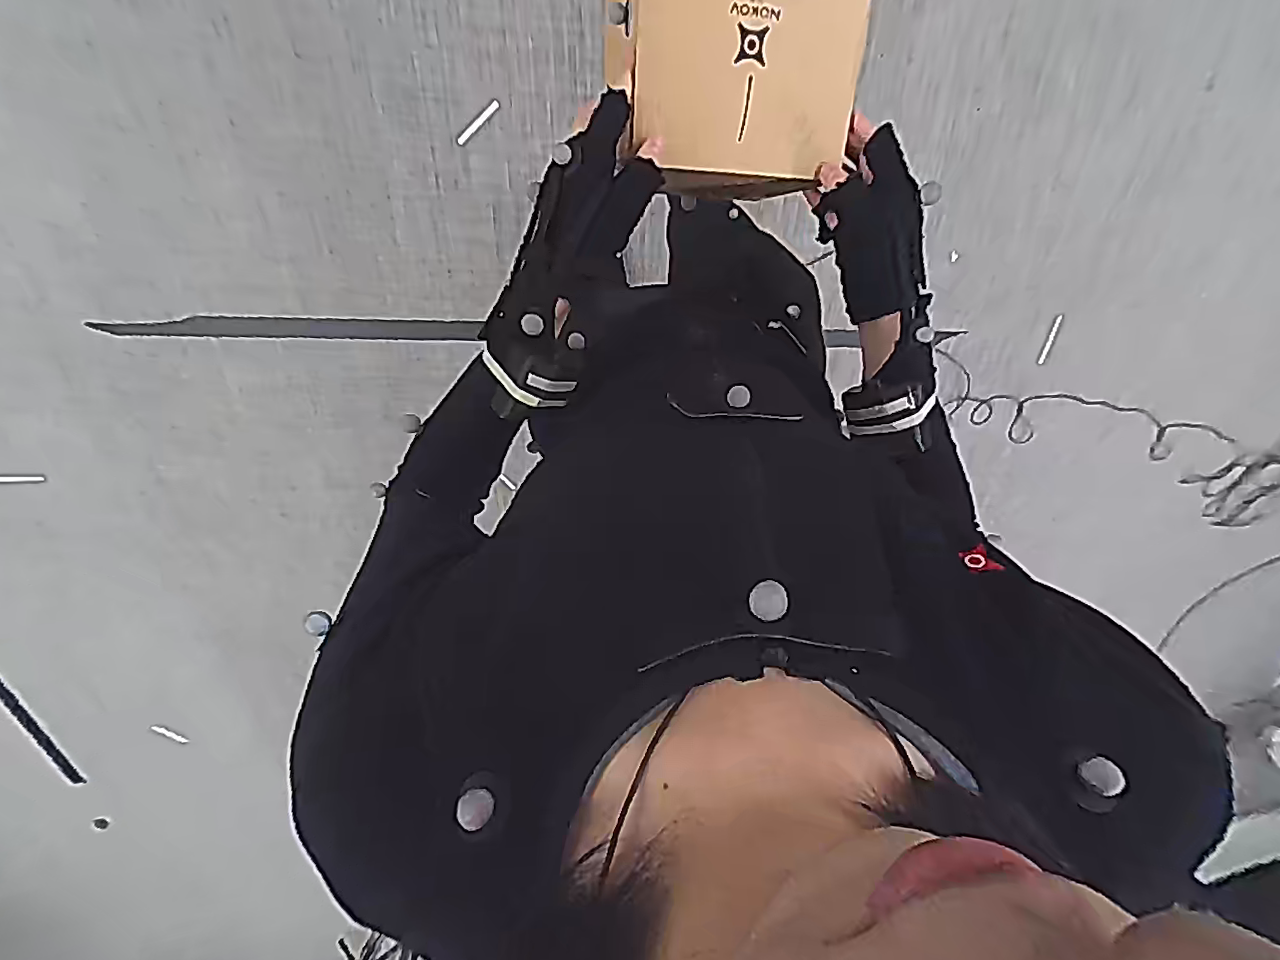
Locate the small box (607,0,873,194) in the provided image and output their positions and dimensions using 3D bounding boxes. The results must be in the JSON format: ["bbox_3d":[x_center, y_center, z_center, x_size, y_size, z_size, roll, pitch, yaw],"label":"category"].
[{"bbox_3d":[0.065,-0.346,0.440,0.168,0.176,0.179,-2,112,-11],"label":"small box"}]

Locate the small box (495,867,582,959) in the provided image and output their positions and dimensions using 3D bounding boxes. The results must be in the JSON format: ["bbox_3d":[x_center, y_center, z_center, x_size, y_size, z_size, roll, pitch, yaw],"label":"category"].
[{"bbox_3d":[-0.233,1.038,1.263,0.179,0.176,0.168,-6,120,-4],"label":"small box"}]
